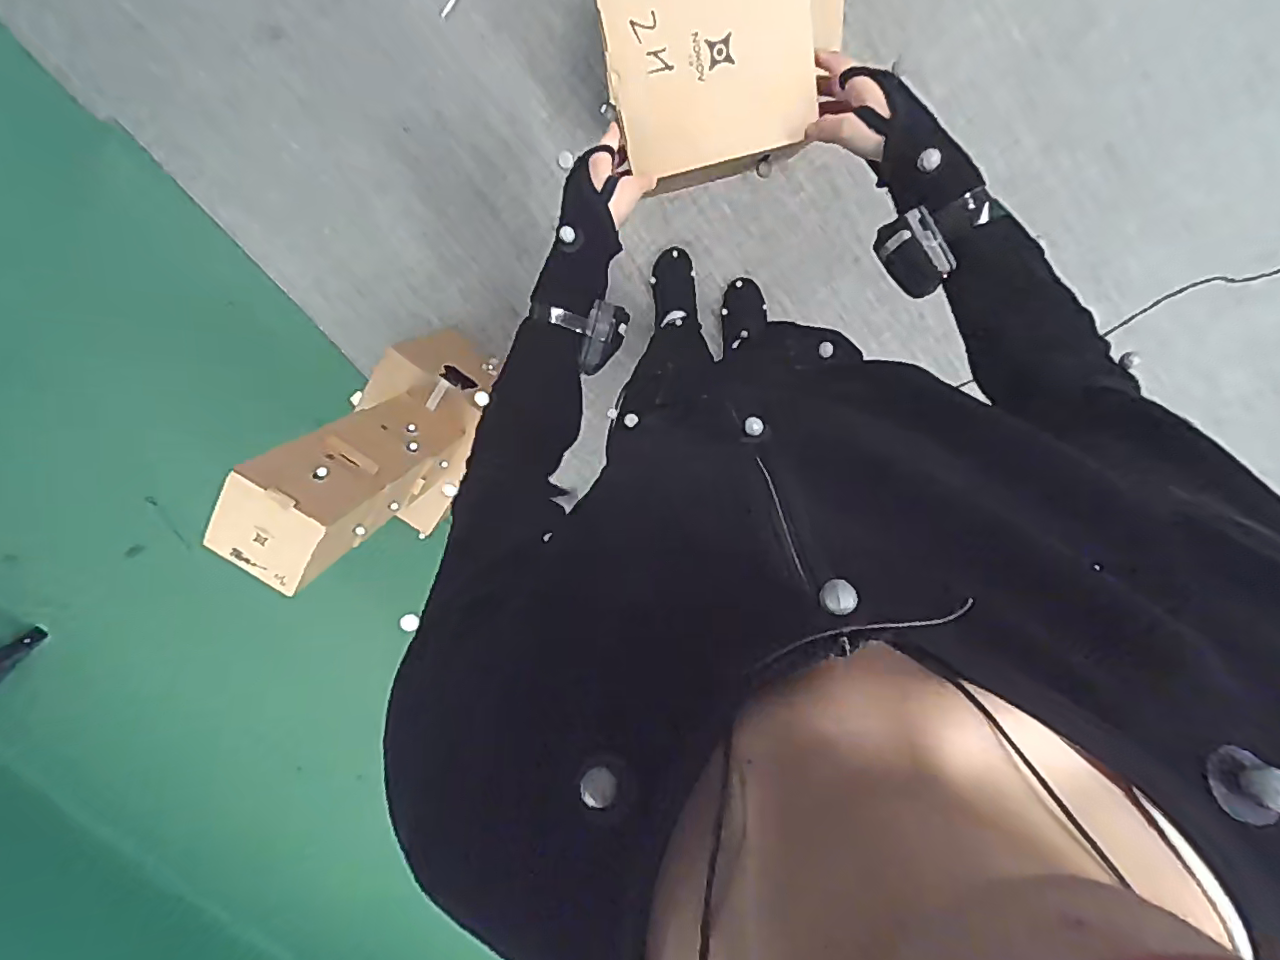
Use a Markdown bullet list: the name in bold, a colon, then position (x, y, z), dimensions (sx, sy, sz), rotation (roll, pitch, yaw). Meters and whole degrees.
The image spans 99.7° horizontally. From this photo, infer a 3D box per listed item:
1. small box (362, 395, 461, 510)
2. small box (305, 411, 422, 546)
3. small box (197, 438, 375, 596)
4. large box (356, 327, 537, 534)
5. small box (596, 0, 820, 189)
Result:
- **small box**: position (-0.540, -0.070, 1.223), dimensions (0.179, 0.176, 0.168), rotation (37, 113, -8)
- **small box**: position (-0.563, -0.010, 1.073), dimensions (0.168, 0.176, 0.179), rotation (35, 114, -7)
- **small box**: position (-0.589, 0.054, 0.923), dimensions (0.168, 0.176, 0.179), rotation (36, 112, -7)
- **large box**: position (-0.541, -0.143, 1.460), dimensions (0.320, 0.320, 0.408), rotation (37, 115, -6)
- **small box**: position (0.061, -0.400, 0.530), dimensions (0.179, 0.176, 0.168), rotation (-11, 112, 7)
